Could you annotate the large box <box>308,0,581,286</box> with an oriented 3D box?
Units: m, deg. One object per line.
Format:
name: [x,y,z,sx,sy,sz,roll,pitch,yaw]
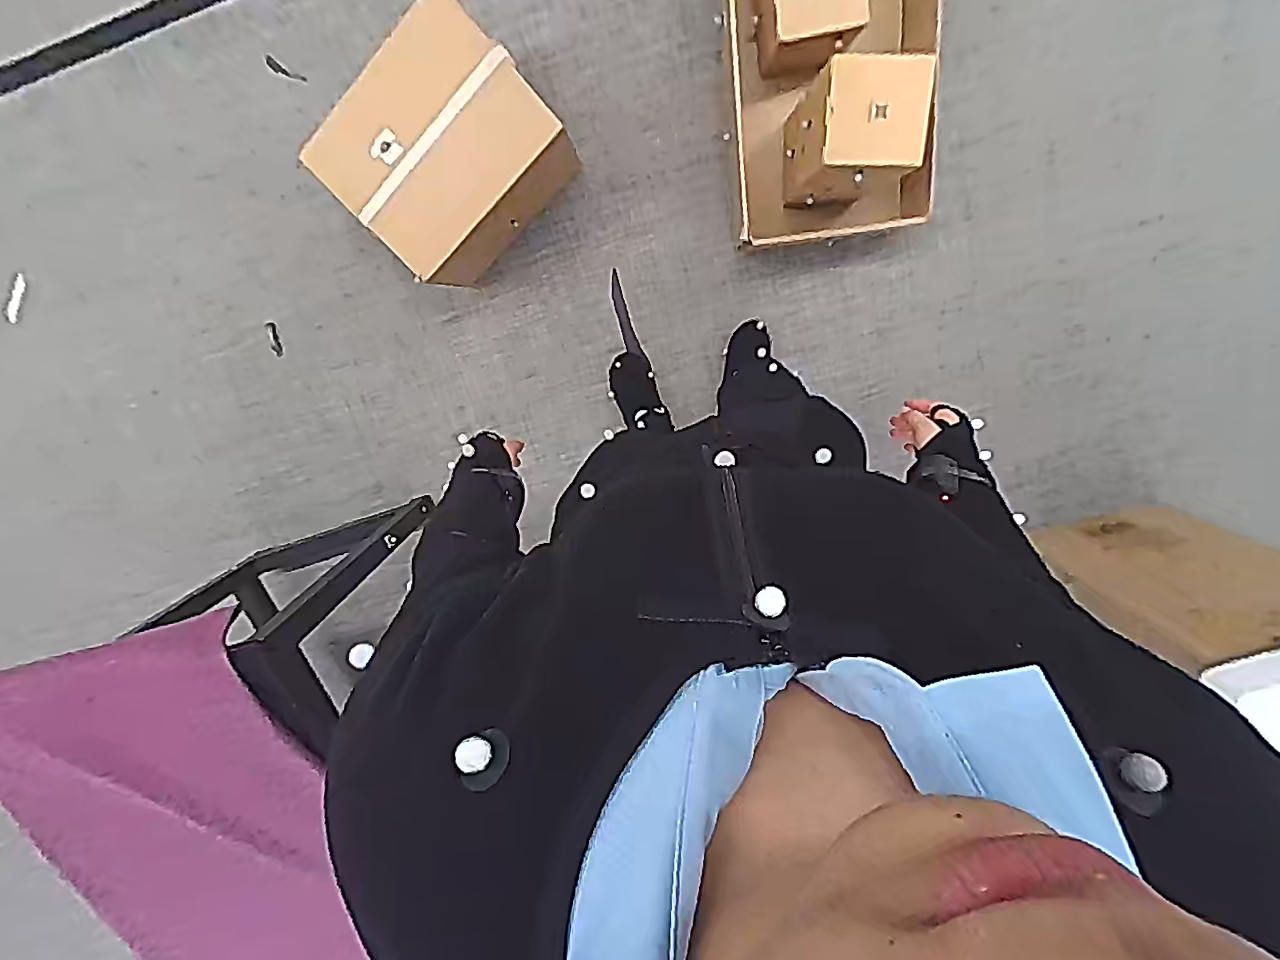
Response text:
large box: [-0.380,-0.671,1.144,0.408,0.320,0.320,-42,102,14]
